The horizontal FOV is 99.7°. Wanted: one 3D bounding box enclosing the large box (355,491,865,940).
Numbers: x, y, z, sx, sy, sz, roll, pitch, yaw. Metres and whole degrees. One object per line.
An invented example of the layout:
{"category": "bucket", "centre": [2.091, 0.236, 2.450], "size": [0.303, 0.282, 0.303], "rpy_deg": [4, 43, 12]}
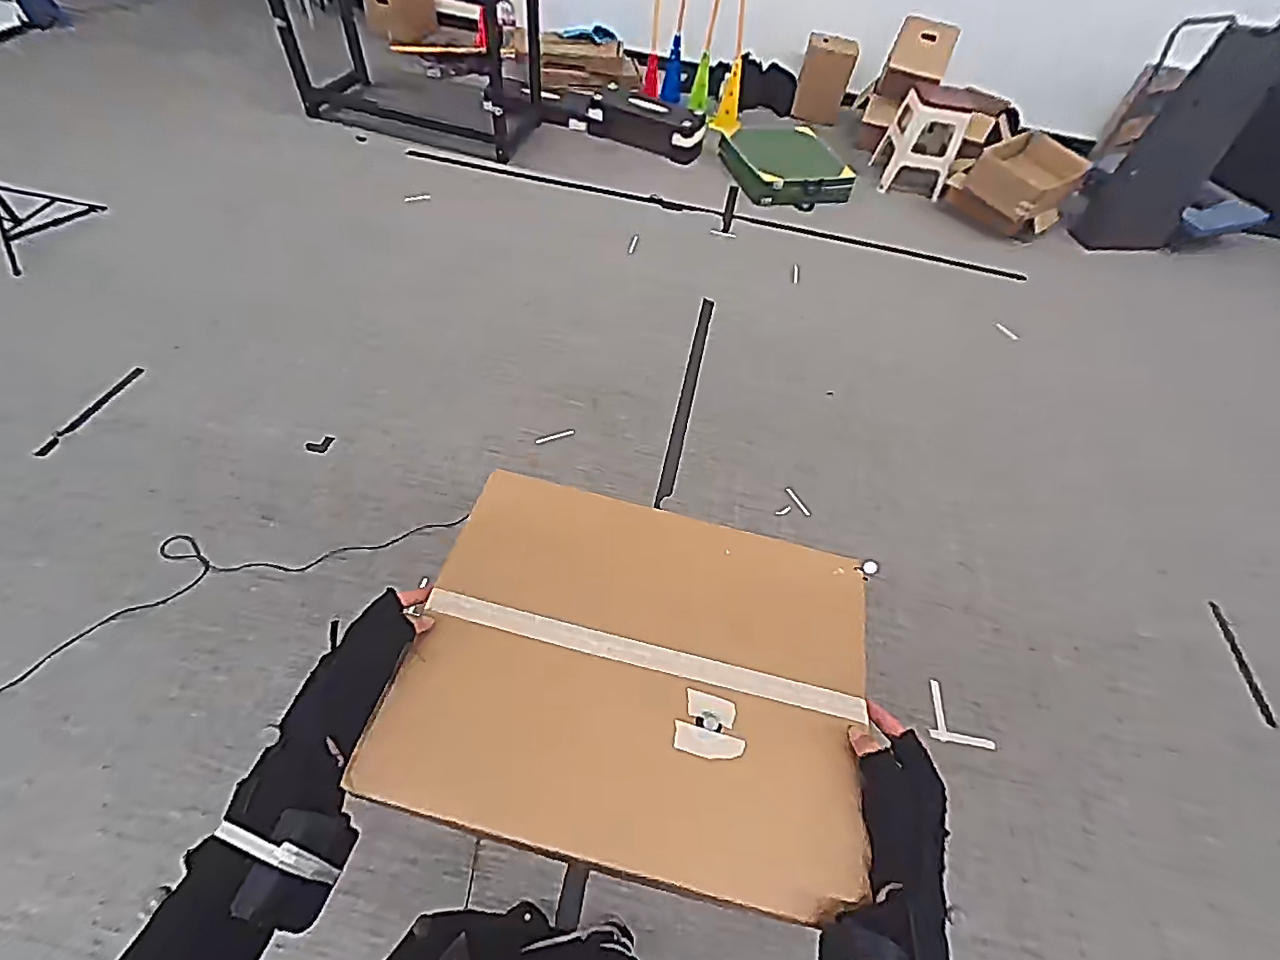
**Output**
{"category": "large box", "centre": [-0.014, 0.261, 0.610], "size": [0.408, 0.320, 0.320], "rpy_deg": [14, 55, 2]}
